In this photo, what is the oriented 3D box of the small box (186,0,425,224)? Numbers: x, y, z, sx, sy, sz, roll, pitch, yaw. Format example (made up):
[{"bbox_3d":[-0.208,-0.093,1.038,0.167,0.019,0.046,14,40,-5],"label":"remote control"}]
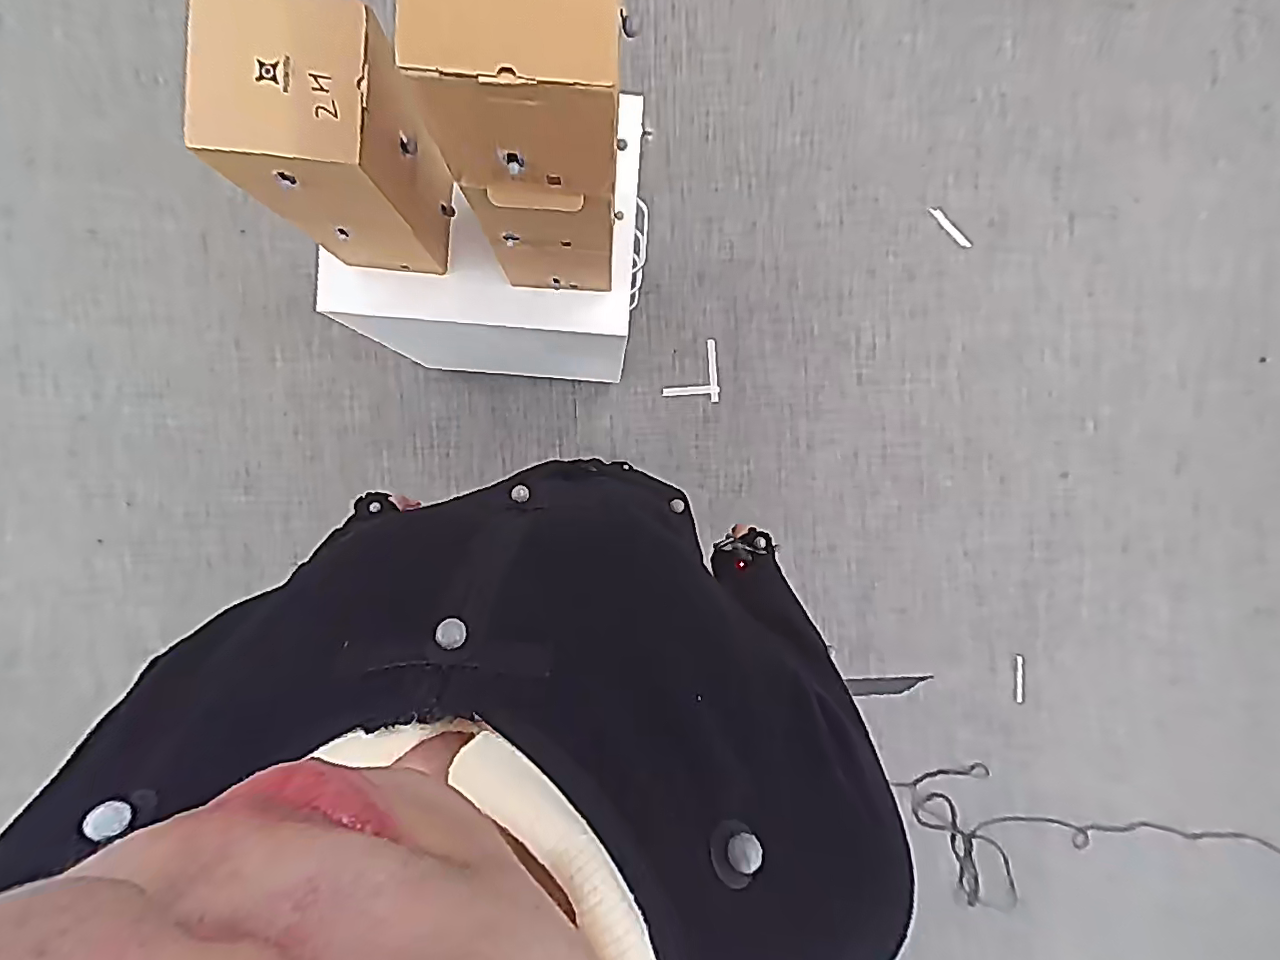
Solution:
[{"bbox_3d":[-0.369,-0.417,0.625,0.179,0.176,0.168,4,93,-4],"label":"small box"}]

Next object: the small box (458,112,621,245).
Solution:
[{"bbox_3d":[-0.109,-0.399,0.643,0.168,0.176,0.179,2,92,-3],"label":"small box"}]

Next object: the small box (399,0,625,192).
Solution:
[{"bbox_3d":[-0.098,-0.390,0.481,0.168,0.176,0.179,2,93,-4],"label":"small box"}]

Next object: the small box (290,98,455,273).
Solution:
[{"bbox_3d":[-0.378,-0.427,0.790,0.168,0.176,0.179,5,91,-3],"label":"small box"}]
